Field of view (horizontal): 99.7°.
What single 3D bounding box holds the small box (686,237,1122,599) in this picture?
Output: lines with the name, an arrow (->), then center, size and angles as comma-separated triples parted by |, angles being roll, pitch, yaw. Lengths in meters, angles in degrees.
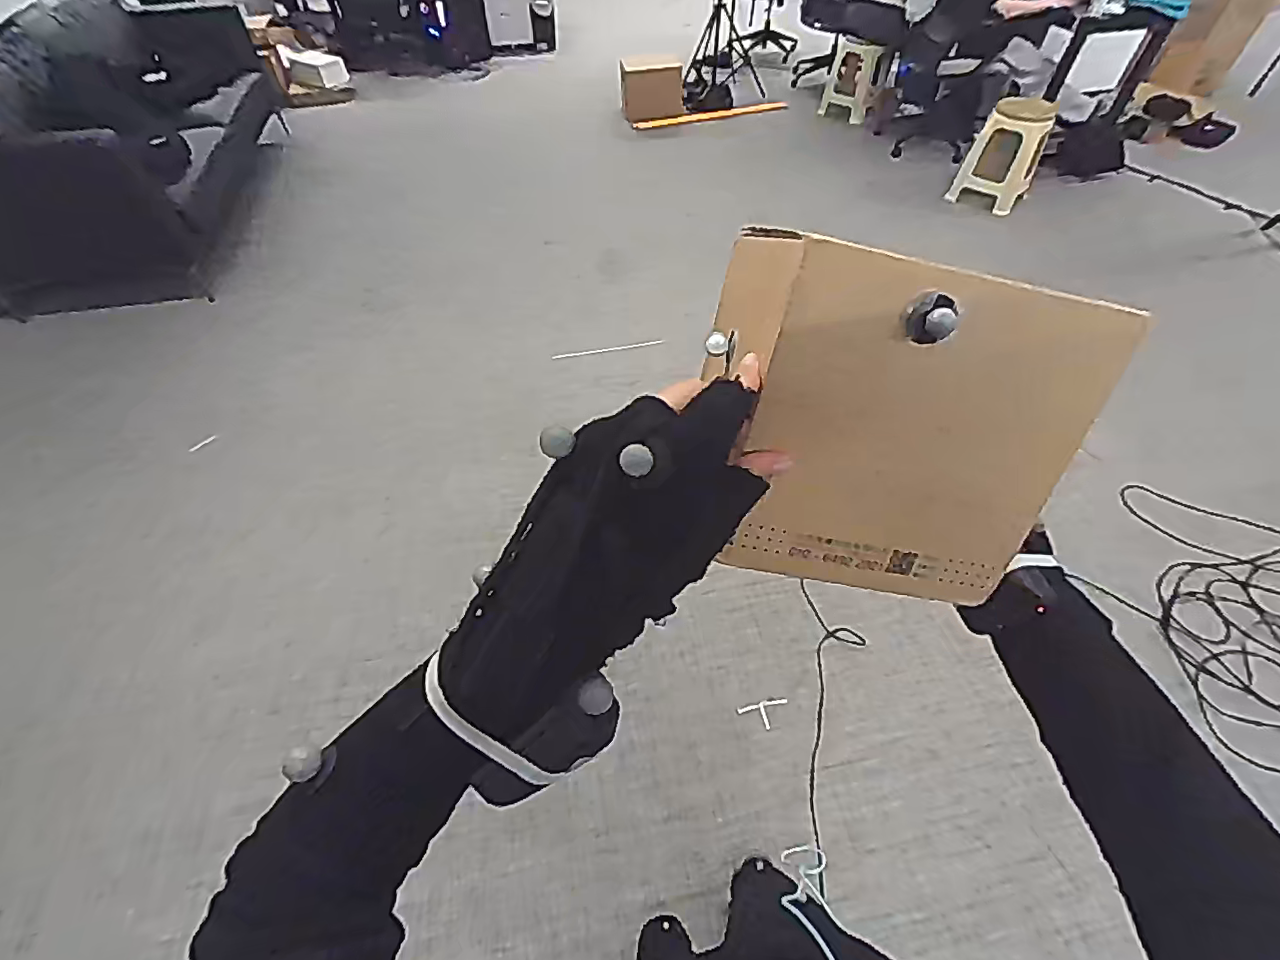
small box -> 0.131, -0.050, 0.355 | 0.168, 0.176, 0.179 | 10, 24, -5
